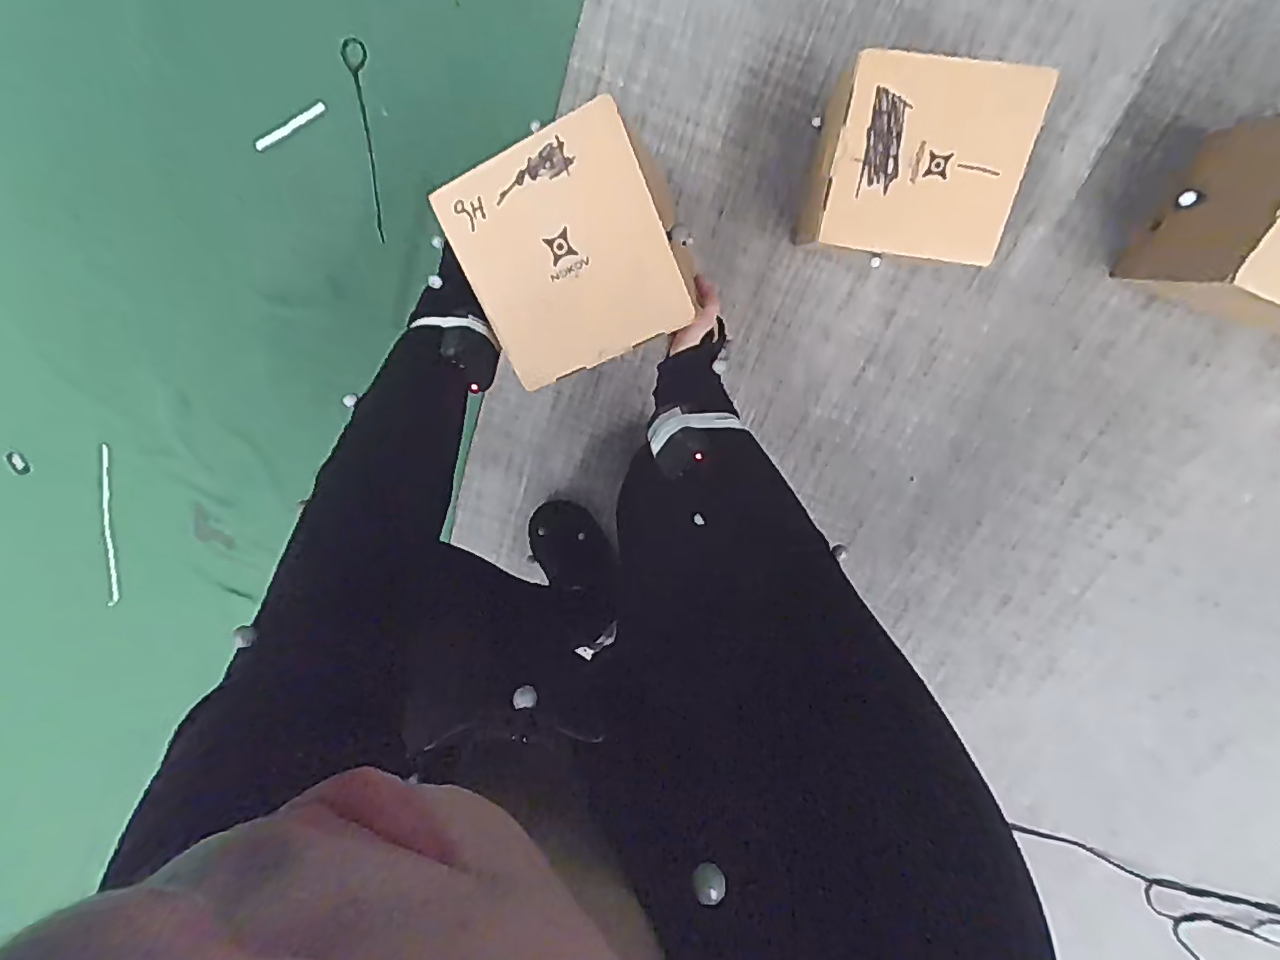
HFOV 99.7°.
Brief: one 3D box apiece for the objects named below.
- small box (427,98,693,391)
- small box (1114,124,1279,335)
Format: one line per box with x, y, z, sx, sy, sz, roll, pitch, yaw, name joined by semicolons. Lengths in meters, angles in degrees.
-0.054;-0.209;0.508;0.168;0.176;0.179;-20;109;14;small box
0.672;-0.255;0.560;0.179;0.176;0.168;22;113;0;small box
